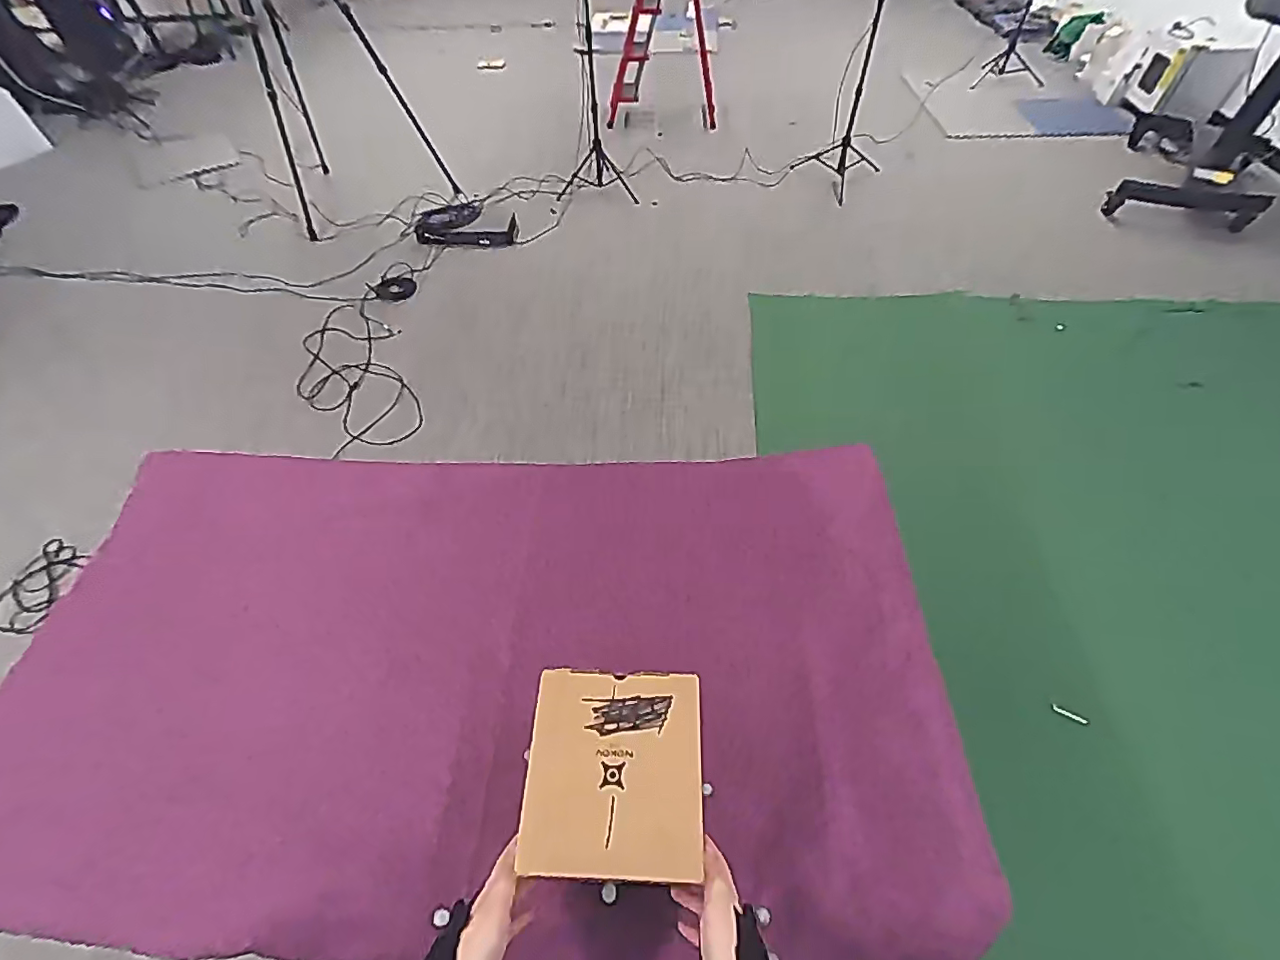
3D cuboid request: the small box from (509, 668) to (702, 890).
[{"bbox_3d":[-0.024,0.313,0.564,0.168,0.176,0.179,1,53,3],"label":"small box"}]
